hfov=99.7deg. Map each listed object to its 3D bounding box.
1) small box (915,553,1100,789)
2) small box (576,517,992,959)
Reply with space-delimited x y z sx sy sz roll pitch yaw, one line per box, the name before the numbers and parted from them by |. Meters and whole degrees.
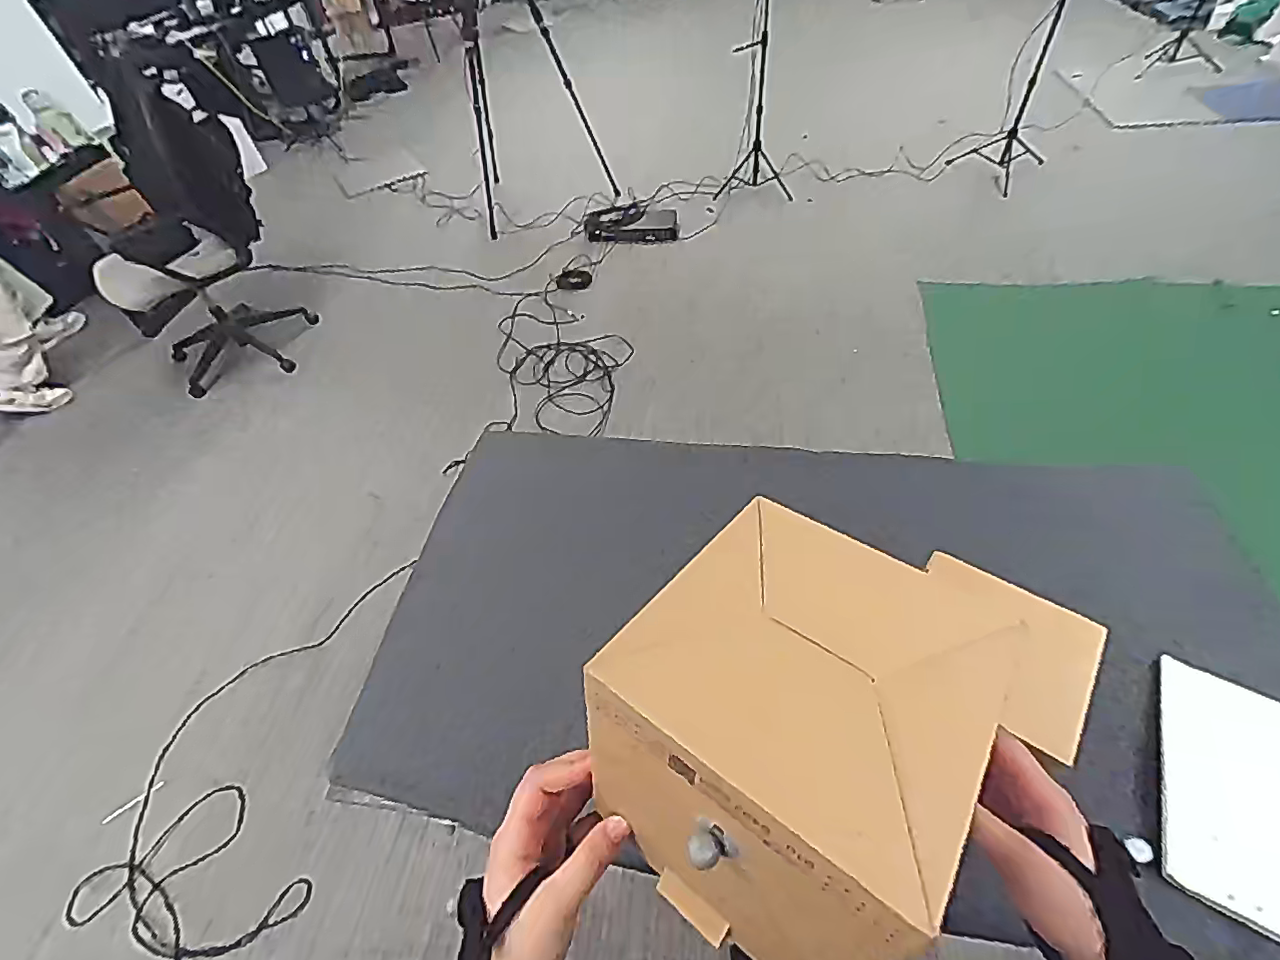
small box | 0.368 0.223 0.622 0.179 0.176 0.168 28 58 27
small box | 0.079 0.144 0.326 0.168 0.176 0.179 27 44 29
